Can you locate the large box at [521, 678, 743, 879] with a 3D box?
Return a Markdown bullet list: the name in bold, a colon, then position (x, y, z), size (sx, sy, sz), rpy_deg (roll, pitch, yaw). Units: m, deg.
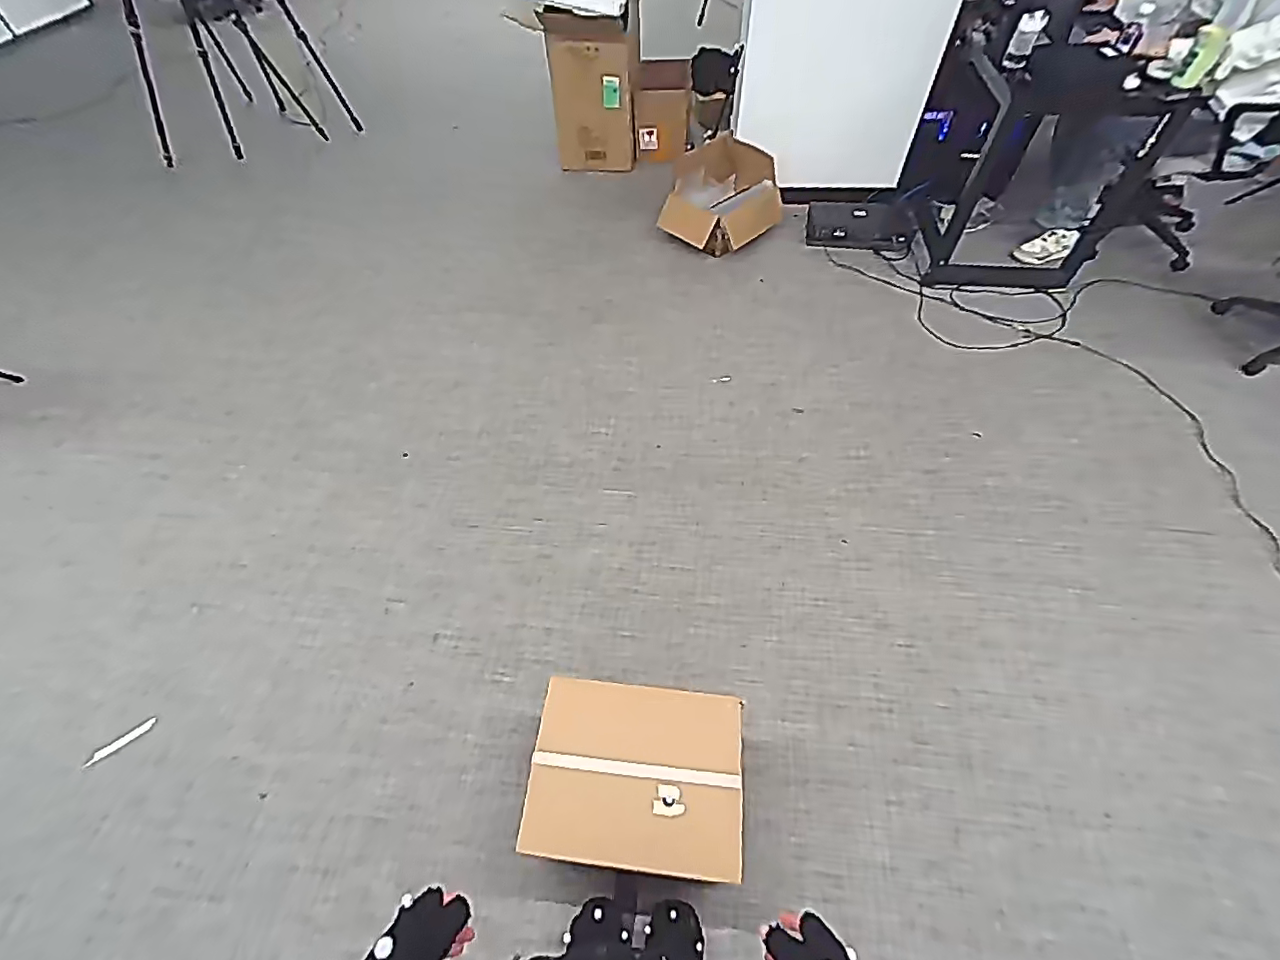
- **large box**: position (-0.004, 0.643, 1.160), size (0.408, 0.320, 0.320), rpy_deg (5, 55, 4)
